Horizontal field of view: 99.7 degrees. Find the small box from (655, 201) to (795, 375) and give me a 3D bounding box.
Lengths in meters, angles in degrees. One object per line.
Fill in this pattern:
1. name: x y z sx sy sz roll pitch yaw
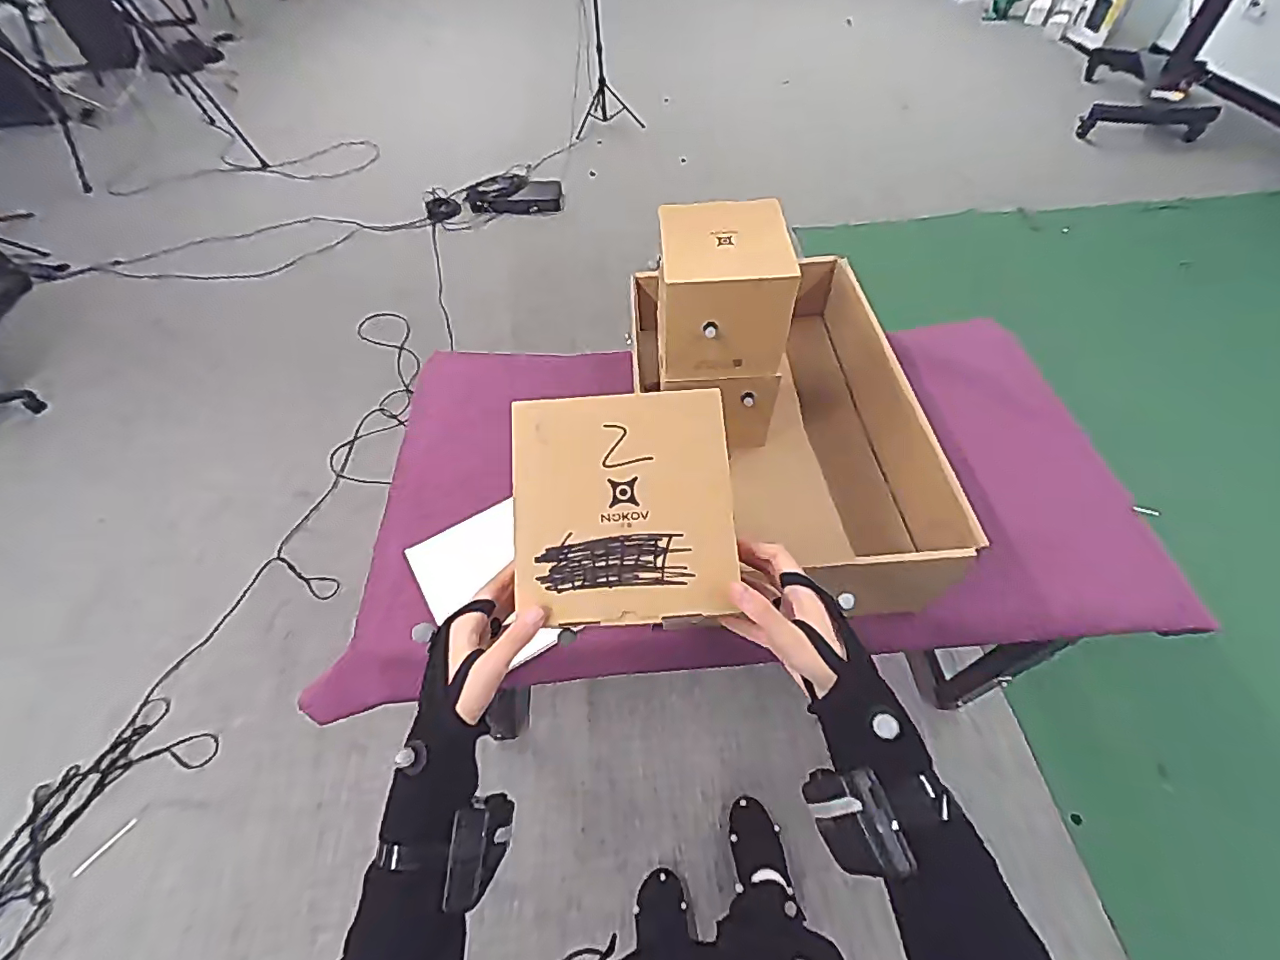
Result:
1. small box: 0.110 -0.262 0.763 0.168 0.176 0.179 -3 55 1
